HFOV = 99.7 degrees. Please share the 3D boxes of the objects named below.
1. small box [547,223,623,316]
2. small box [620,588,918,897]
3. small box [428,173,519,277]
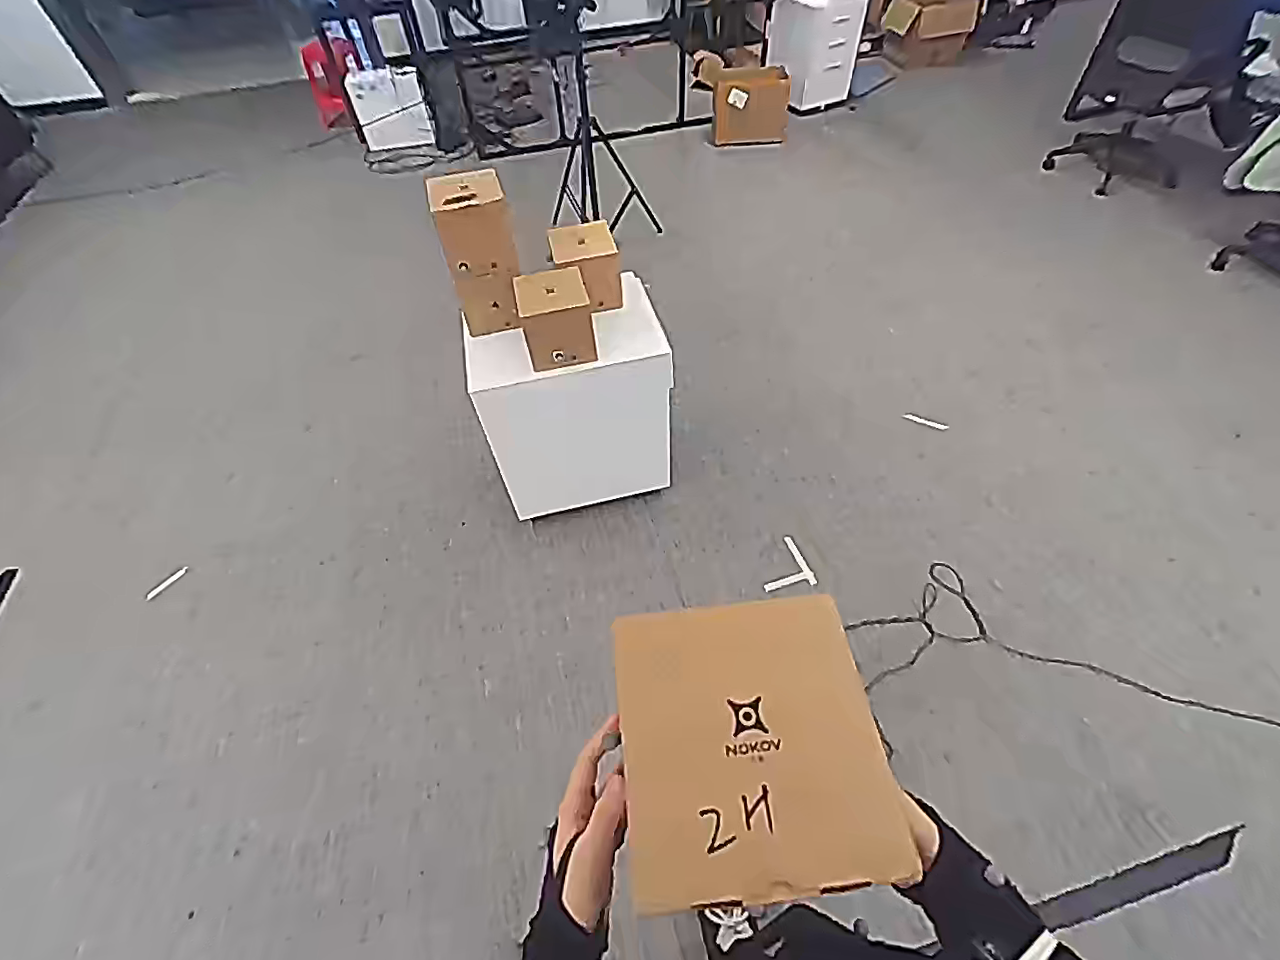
[{"bbox_3d":[-0.147,-0.566,1.476,0.168,0.176,0.179,-13,52,-5],"label":"small box"},{"bbox_3d":[0.074,0.204,0.421,0.168,0.176,0.179,-6,56,-1],"label":"small box"},{"bbox_3d":[-0.401,-0.612,1.315,0.168,0.176,0.179,-15,53,-9],"label":"small box"}]
